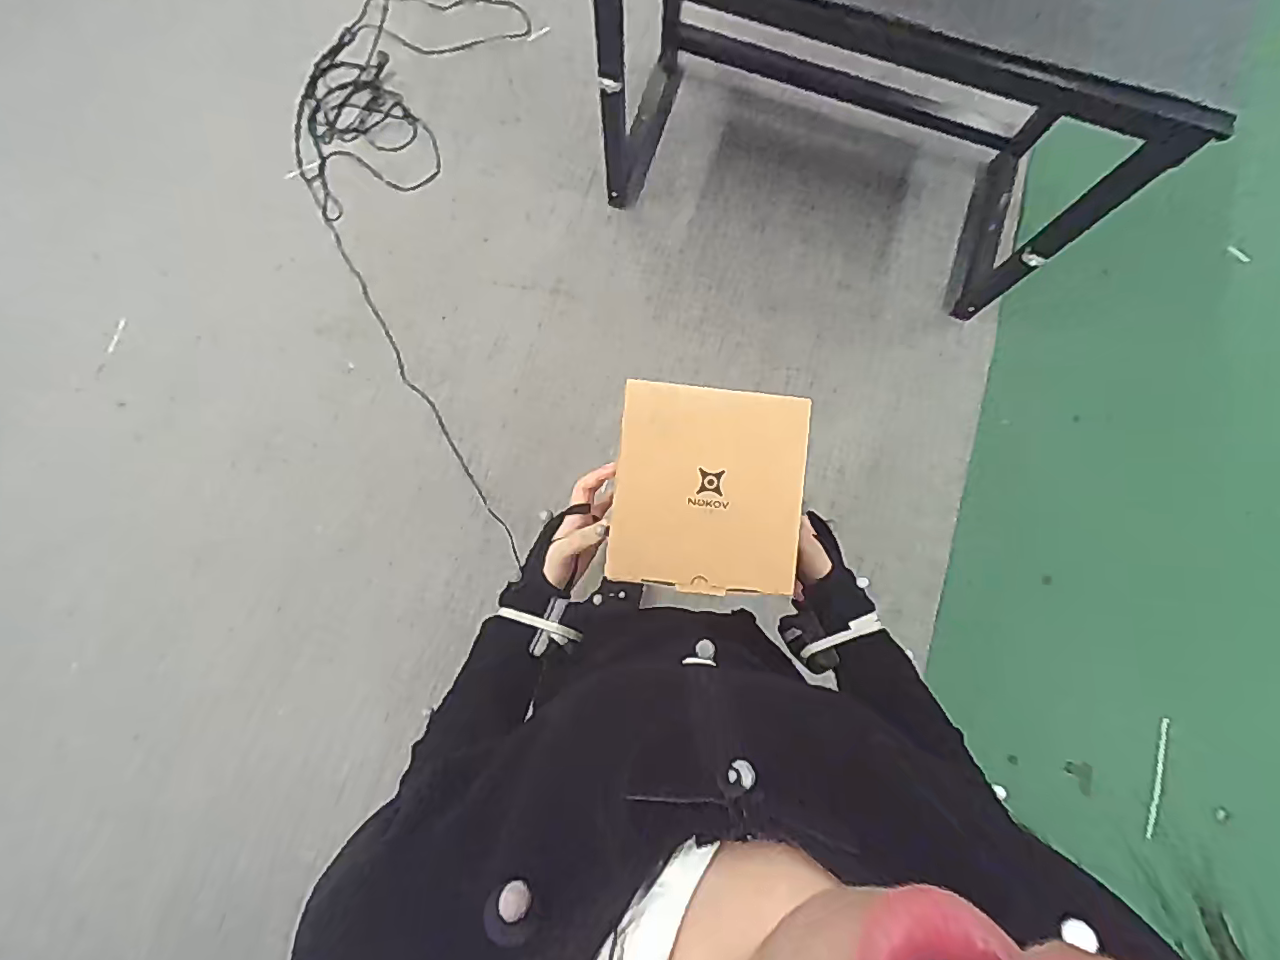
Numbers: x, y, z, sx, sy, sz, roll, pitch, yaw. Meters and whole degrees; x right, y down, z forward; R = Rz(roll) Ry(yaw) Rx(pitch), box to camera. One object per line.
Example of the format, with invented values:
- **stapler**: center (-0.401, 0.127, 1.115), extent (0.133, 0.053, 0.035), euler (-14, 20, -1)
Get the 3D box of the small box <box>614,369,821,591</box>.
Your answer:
- **small box**: center (0.063, 0.003, 0.538), extent (0.168, 0.176, 0.179), euler (6, 87, -2)
